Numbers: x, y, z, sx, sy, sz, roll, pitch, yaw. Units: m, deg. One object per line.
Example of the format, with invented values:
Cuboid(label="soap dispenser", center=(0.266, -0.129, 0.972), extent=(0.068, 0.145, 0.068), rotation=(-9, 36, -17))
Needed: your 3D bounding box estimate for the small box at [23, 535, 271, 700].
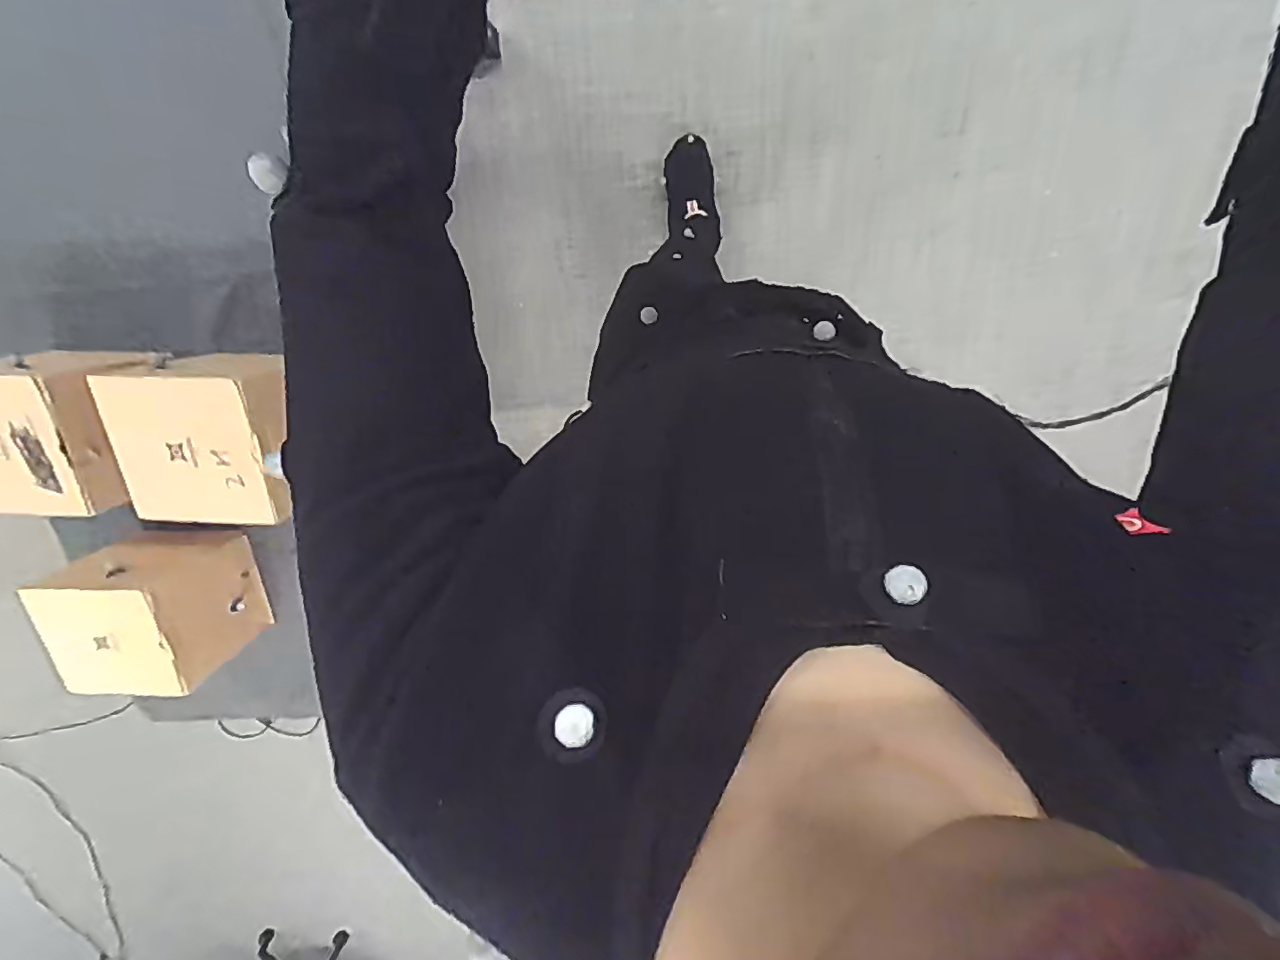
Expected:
Cuboid(label="small box", center=(-0.681, 0.187, 0.772), extent=(0.179, 0.176, 0.168), rotation=(0, 110, 4))

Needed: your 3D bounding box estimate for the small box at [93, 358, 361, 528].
Cuboid(label="small box", center=(-0.481, -0.054, 0.661), extent=(0.179, 0.176, 0.168), rotation=(2, 111, 5))

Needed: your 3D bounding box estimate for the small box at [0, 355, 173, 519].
Cuboid(label="small box", center=(-0.710, -0.062, 0.679), extent=(0.179, 0.176, 0.168), rotation=(2, 111, 4))
